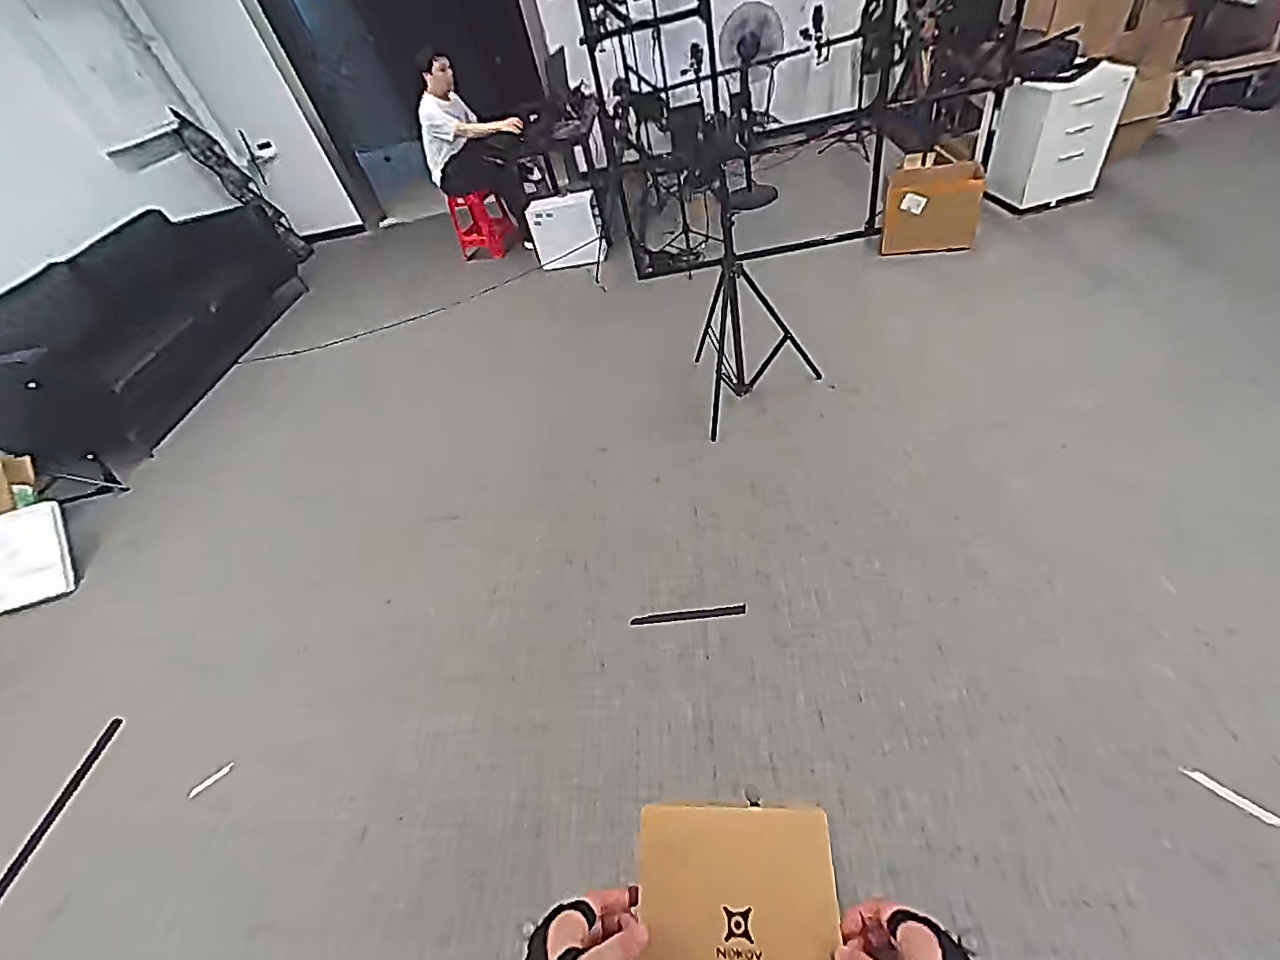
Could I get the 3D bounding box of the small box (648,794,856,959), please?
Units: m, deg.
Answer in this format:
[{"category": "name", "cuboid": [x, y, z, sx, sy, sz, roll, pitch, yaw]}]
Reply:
[{"category": "small box", "cuboid": [0.097, 0.397, 0.504, 0.168, 0.176, 0.179, -4, 63, 8]}]
